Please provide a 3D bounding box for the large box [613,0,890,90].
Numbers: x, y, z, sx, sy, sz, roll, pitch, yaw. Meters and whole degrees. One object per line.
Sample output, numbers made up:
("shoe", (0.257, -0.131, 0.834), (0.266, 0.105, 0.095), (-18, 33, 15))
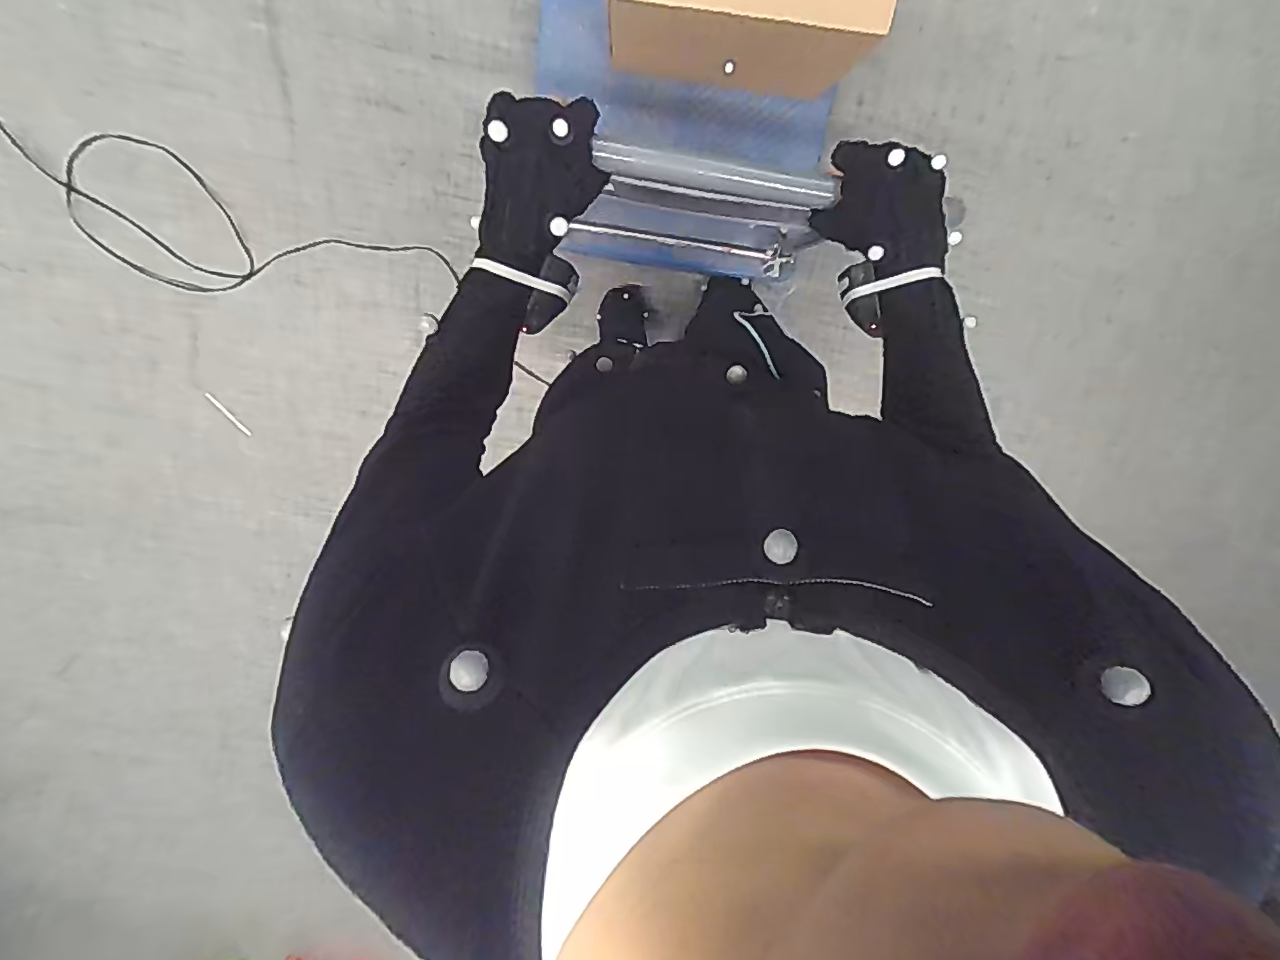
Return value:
("large box", (0.170, -0.860, 0.864), (0.408, 0.320, 0.320), (4, 110, -2))
